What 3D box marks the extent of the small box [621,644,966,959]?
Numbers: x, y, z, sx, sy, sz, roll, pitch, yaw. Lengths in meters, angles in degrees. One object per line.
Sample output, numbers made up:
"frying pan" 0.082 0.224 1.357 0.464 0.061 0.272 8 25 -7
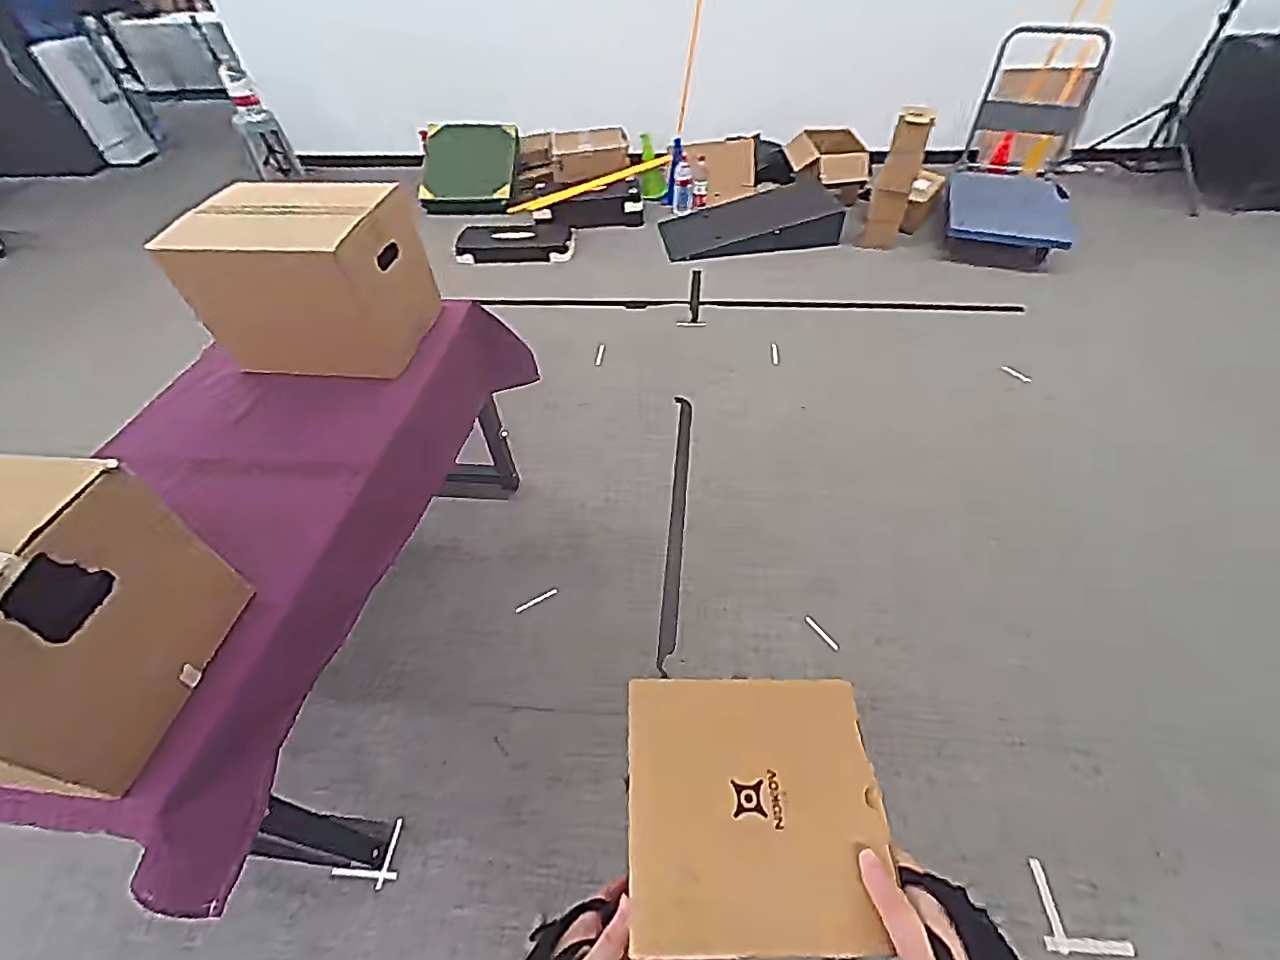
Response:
"small box" 0.096 0.250 0.398 0.168 0.176 0.179 12 29 -16
